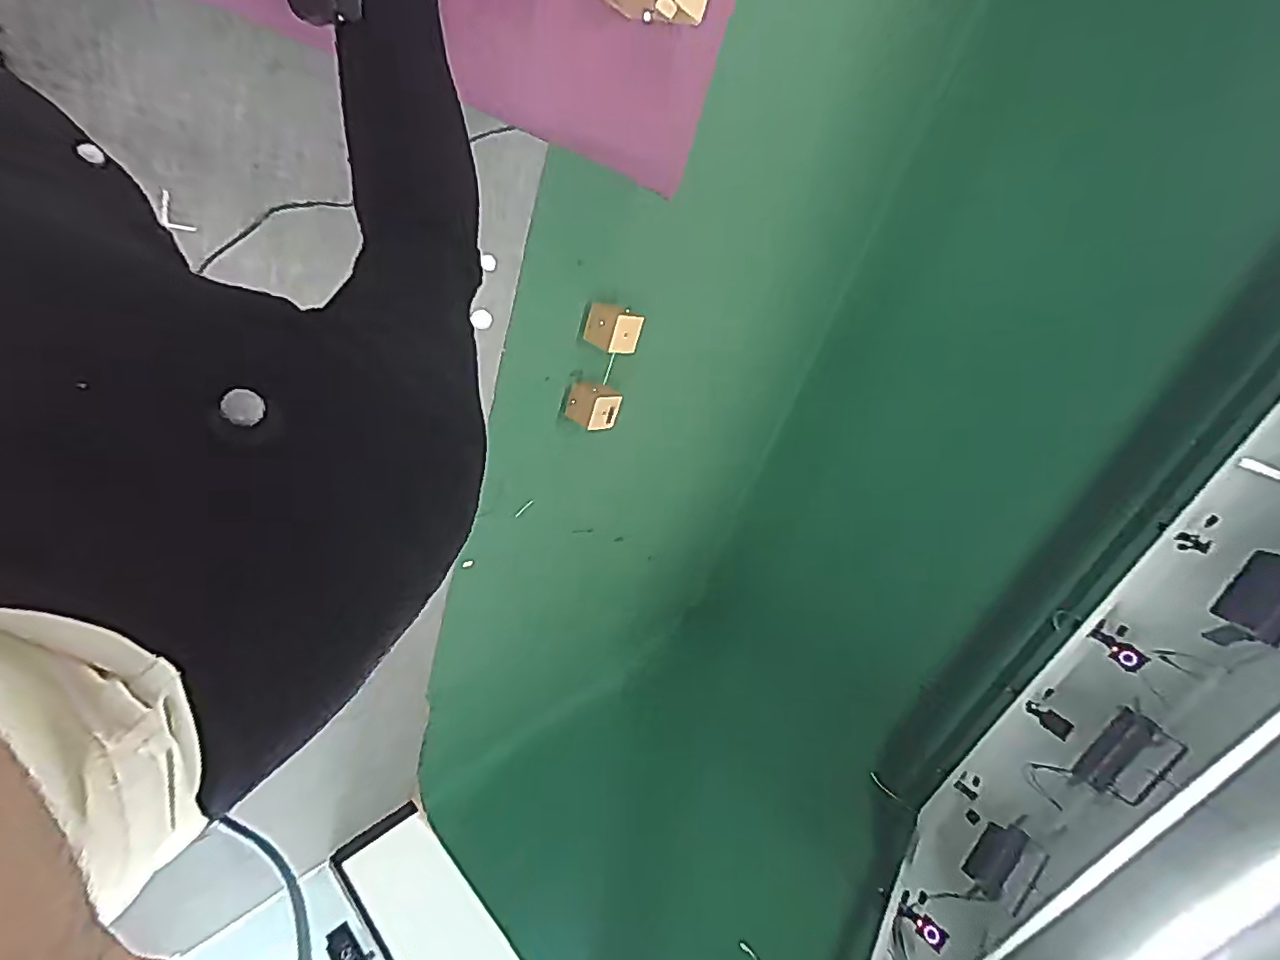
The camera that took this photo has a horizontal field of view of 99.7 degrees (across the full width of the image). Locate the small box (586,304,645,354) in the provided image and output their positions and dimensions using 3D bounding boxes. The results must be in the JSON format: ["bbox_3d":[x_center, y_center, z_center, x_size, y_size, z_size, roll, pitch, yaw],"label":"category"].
[{"bbox_3d":[-0.112,-0.661,2.360,0.179,0.176,0.168,-16,132,-51],"label":"small box"}]

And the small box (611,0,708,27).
[{"bbox_3d":[0.015,-0.853,0.839,0.168,0.176,0.179,-16,132,-50],"label":"small box"}]
